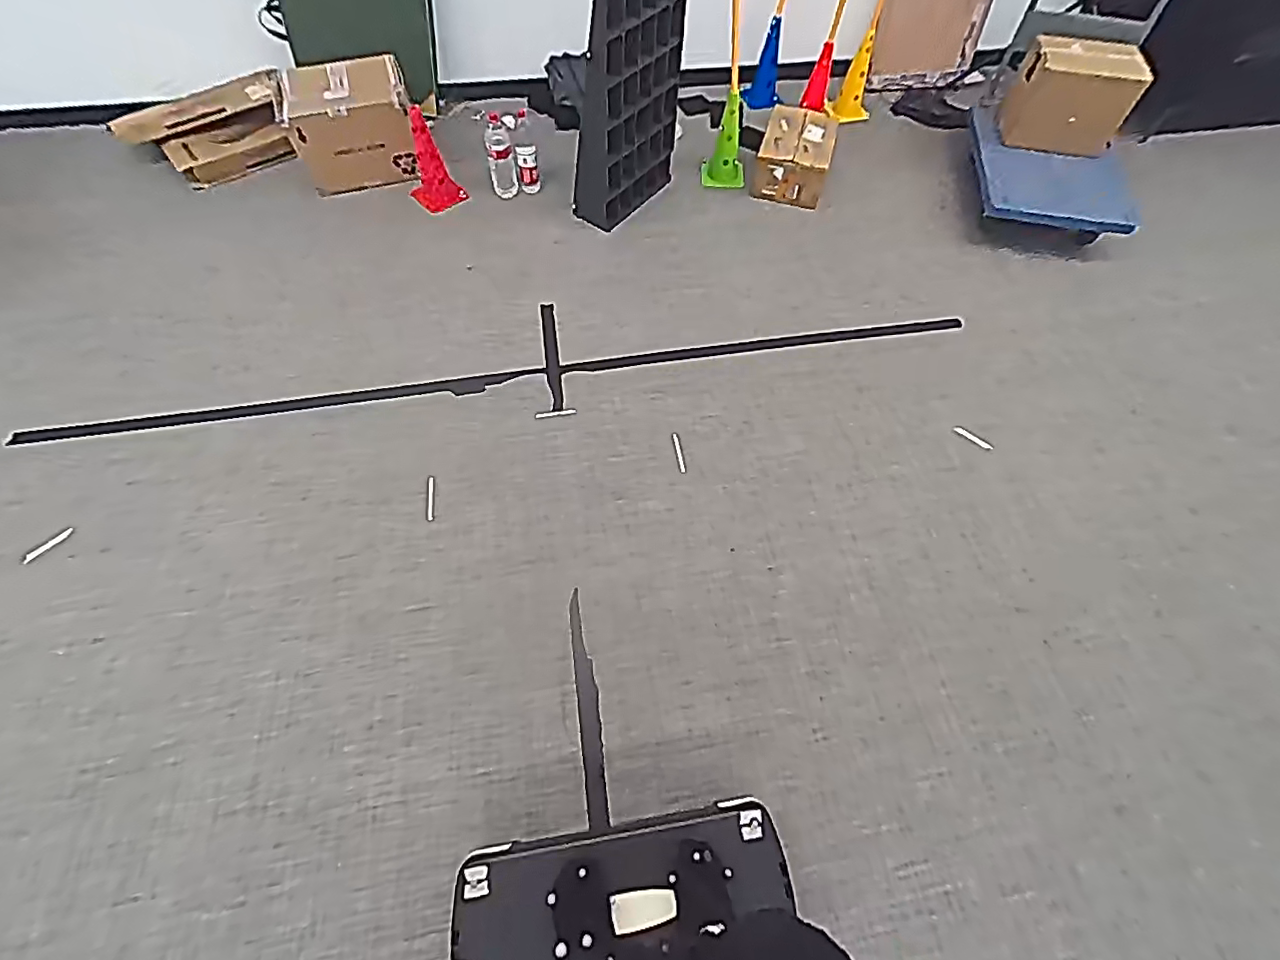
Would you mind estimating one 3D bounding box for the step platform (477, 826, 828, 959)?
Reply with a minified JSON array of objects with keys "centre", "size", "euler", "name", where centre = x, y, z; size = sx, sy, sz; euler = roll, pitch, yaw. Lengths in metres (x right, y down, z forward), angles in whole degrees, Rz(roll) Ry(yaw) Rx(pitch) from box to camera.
[{"centre":[0.021,0.908,1.104],"size":[0.684,0.204,0.286],"euler":[-4,59,-4],"name":"step platform"}]
